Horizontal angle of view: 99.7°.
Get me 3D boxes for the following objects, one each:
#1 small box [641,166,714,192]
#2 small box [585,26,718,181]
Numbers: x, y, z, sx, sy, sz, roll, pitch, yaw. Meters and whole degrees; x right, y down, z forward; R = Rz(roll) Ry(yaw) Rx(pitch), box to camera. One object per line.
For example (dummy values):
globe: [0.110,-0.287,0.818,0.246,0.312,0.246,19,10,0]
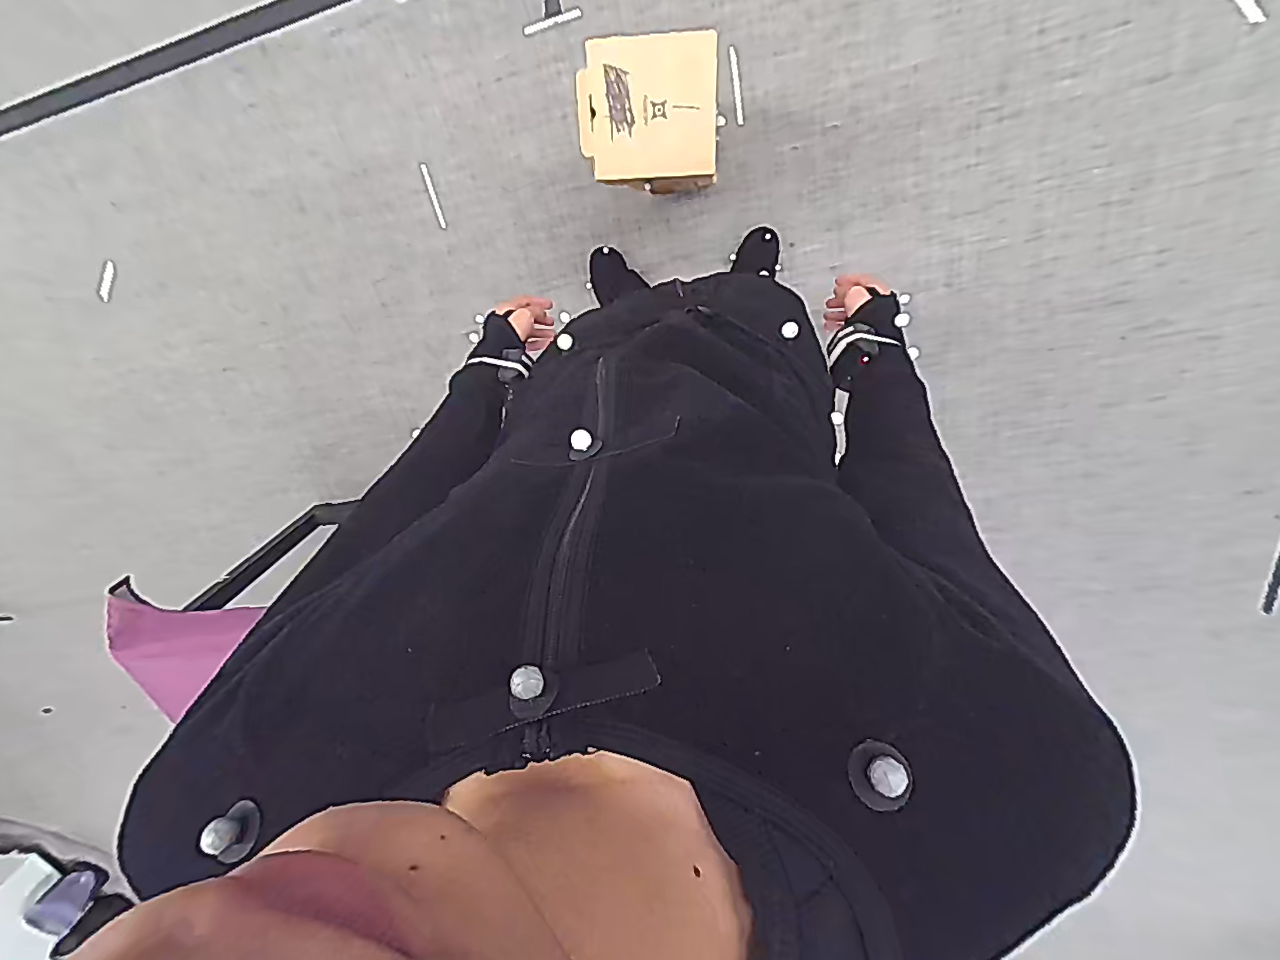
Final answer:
small box: [0.083,-0.773,1.243,0.168,0.176,0.179,-5,117,9]
small box: [0.023,-0.546,0.808,0.179,0.176,0.168,0,117,5]
